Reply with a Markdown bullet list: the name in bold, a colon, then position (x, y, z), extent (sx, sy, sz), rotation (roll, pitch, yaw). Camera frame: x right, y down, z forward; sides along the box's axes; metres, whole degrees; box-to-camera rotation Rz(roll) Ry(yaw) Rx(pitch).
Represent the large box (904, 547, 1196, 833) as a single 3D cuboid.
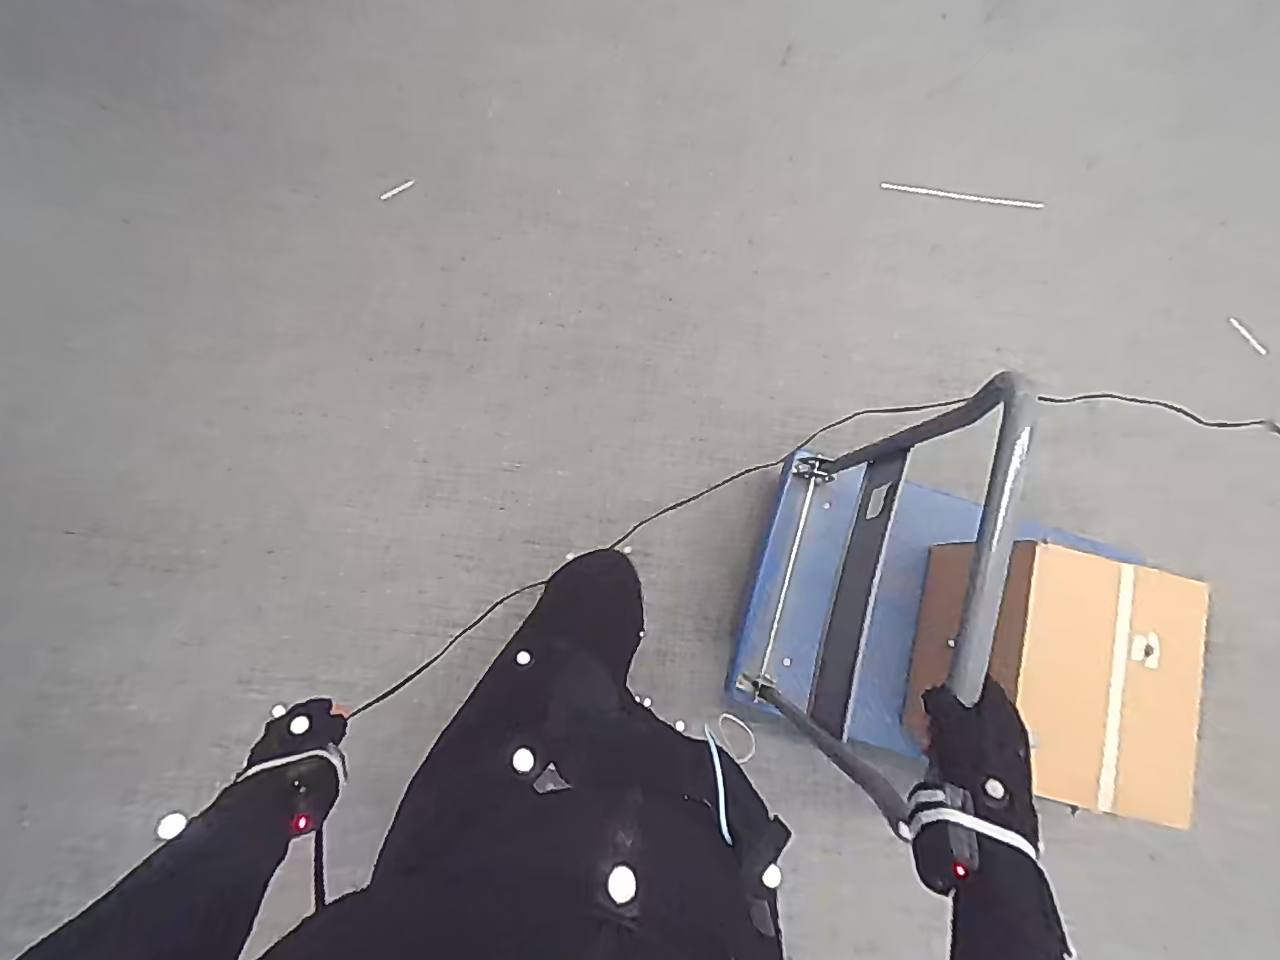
- **large box**: position (0.751, 0.363, 1.032), extent (0.320, 0.320, 0.408), rotation (14, 80, -2)
